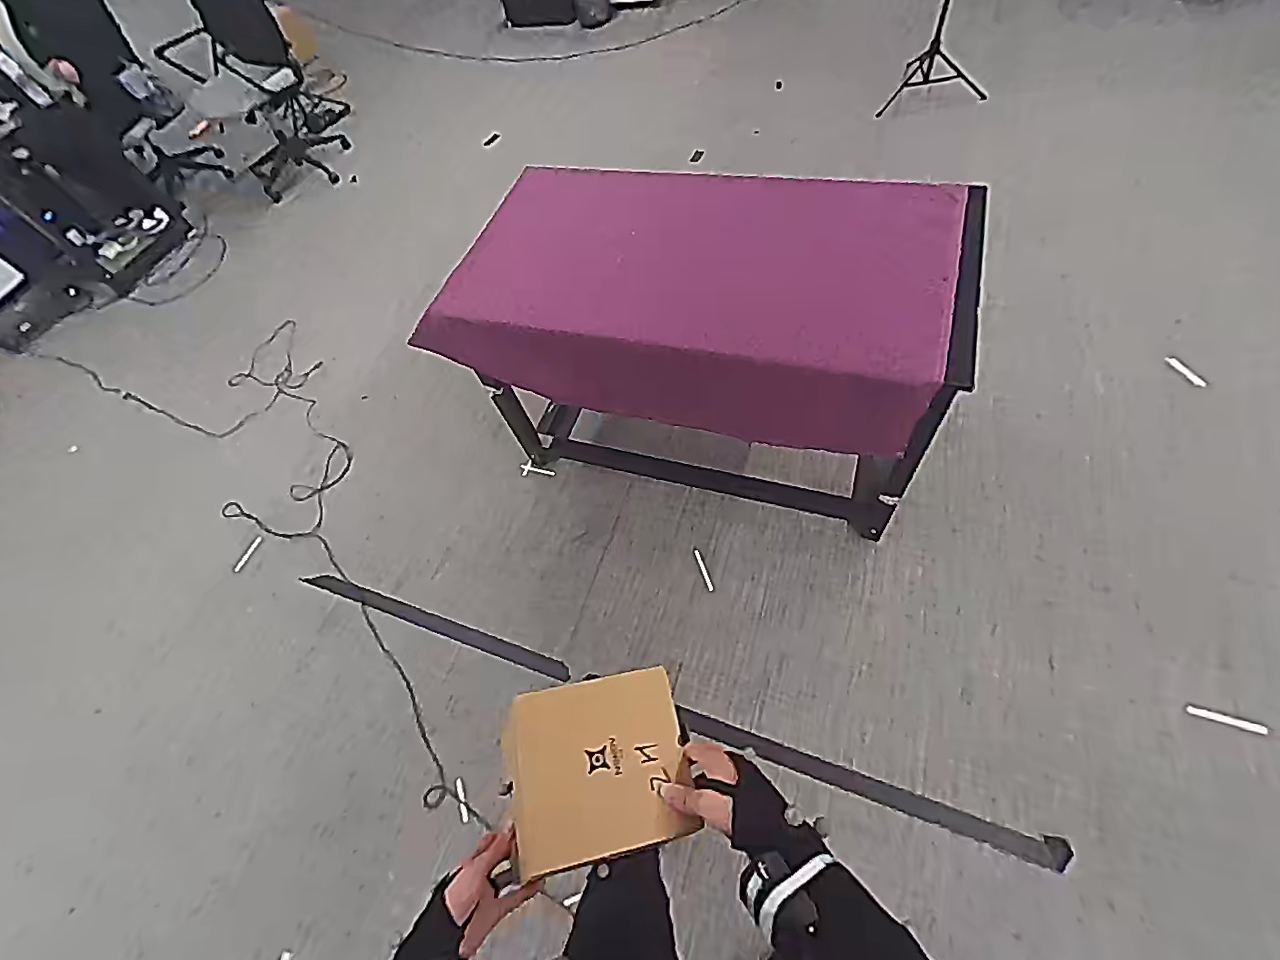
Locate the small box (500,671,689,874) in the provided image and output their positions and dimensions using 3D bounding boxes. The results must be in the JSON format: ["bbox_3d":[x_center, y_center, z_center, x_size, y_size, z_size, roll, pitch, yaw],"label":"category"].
[{"bbox_3d":[-0.068,0.340,0.630,0.179,0.176,0.168,0,54,-21],"label":"small box"}]
